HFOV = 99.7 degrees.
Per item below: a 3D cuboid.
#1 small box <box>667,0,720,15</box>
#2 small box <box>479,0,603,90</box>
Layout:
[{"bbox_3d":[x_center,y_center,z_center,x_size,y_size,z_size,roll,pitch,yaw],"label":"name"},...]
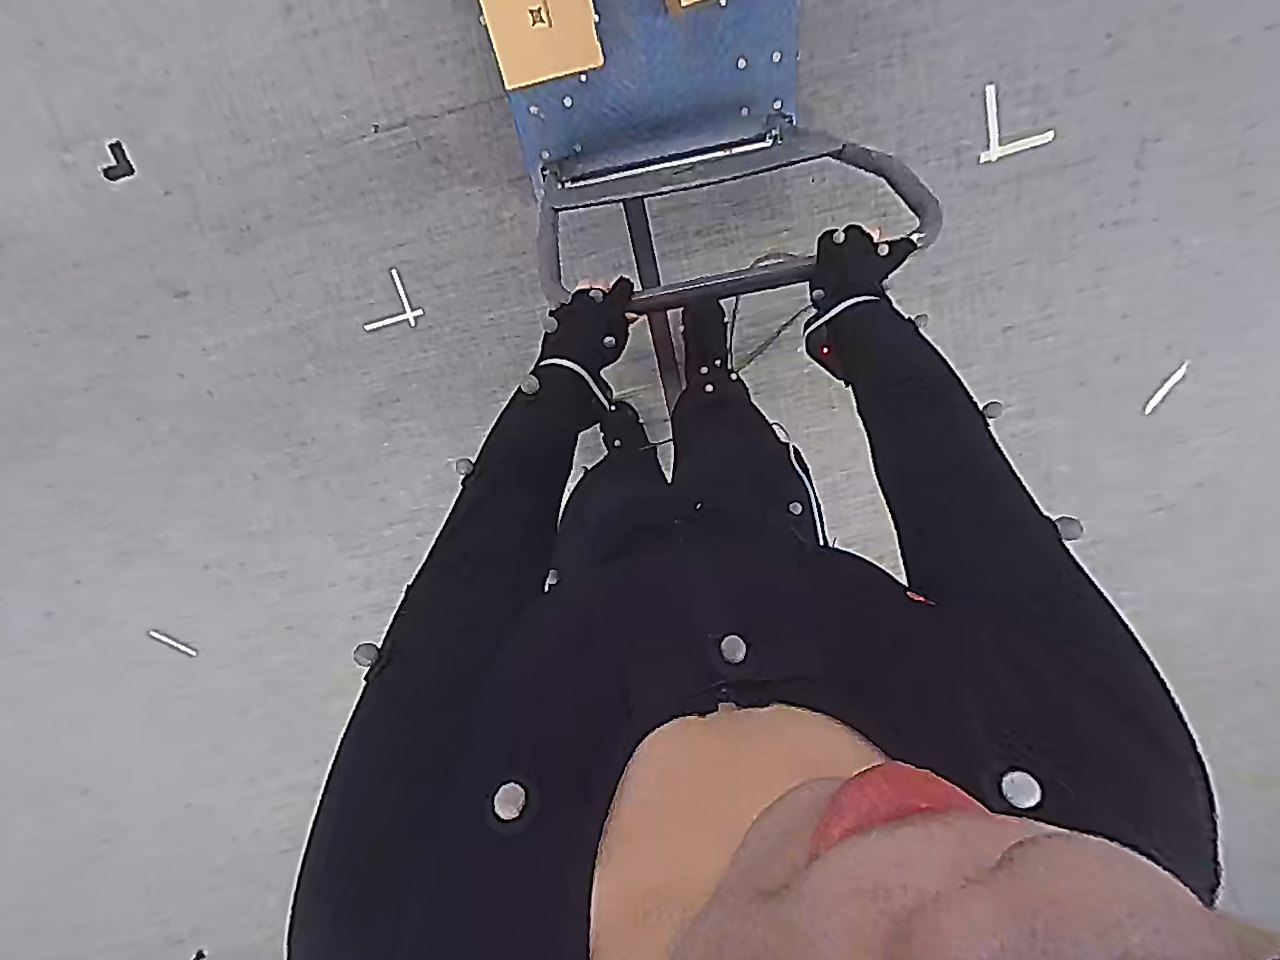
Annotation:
[{"bbox_3d":[0.120,-0.902,0.890,0.179,0.176,0.168,-16,126,6],"label":"small box"},{"bbox_3d":[-0.169,-0.794,0.937,0.179,0.176,0.168,-14,125,2],"label":"small box"}]
